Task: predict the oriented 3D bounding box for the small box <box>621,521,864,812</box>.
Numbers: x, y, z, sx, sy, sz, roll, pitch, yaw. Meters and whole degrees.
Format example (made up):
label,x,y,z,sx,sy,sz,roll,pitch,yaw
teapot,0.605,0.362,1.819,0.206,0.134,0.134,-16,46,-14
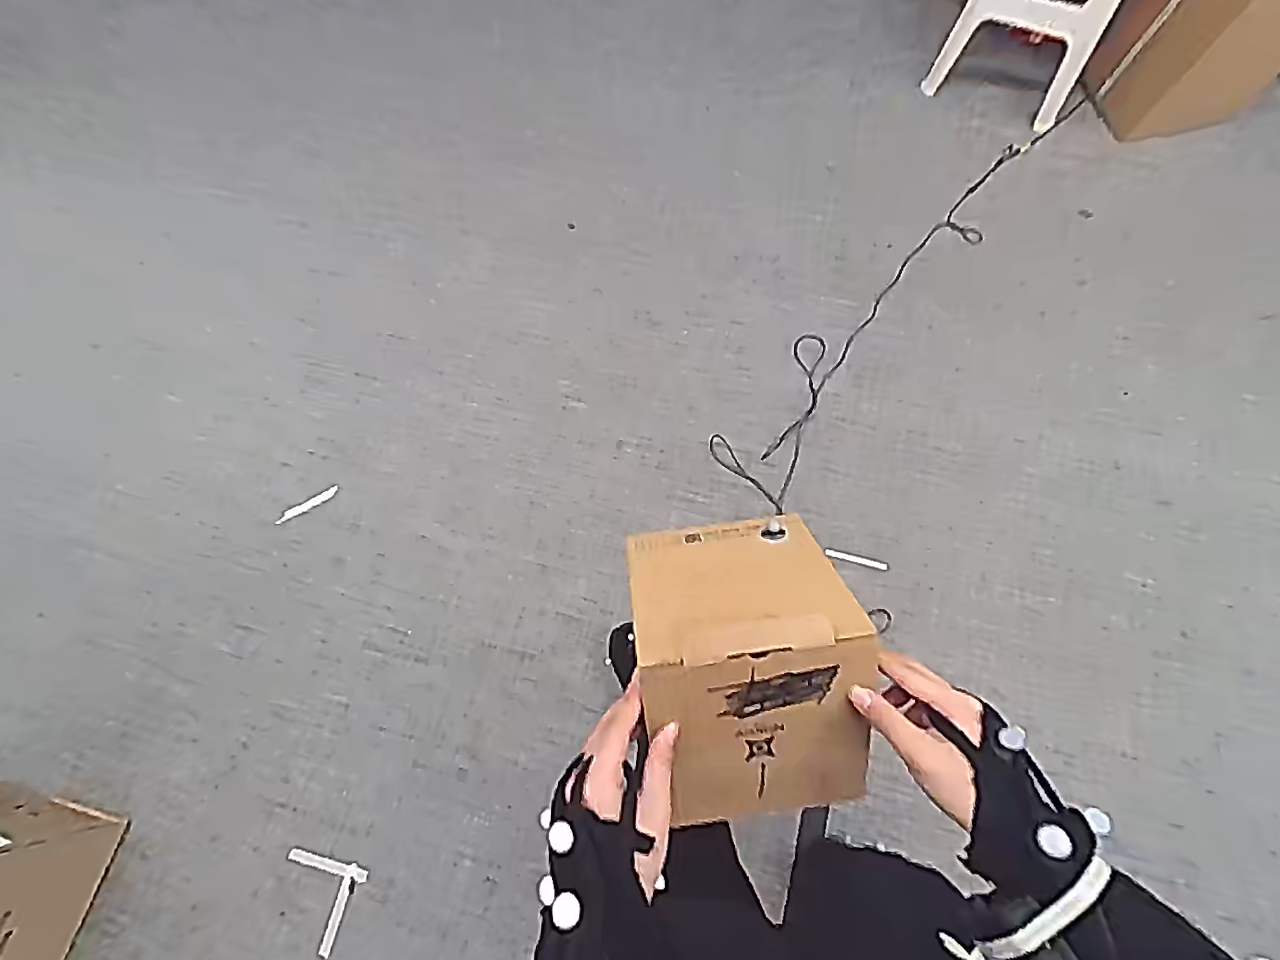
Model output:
label,x,y,z,sx,sy,sz,roll,pitch,yaw
small box,0.075,0.148,0.475,0.168,0.176,0.179,-6,116,-1
